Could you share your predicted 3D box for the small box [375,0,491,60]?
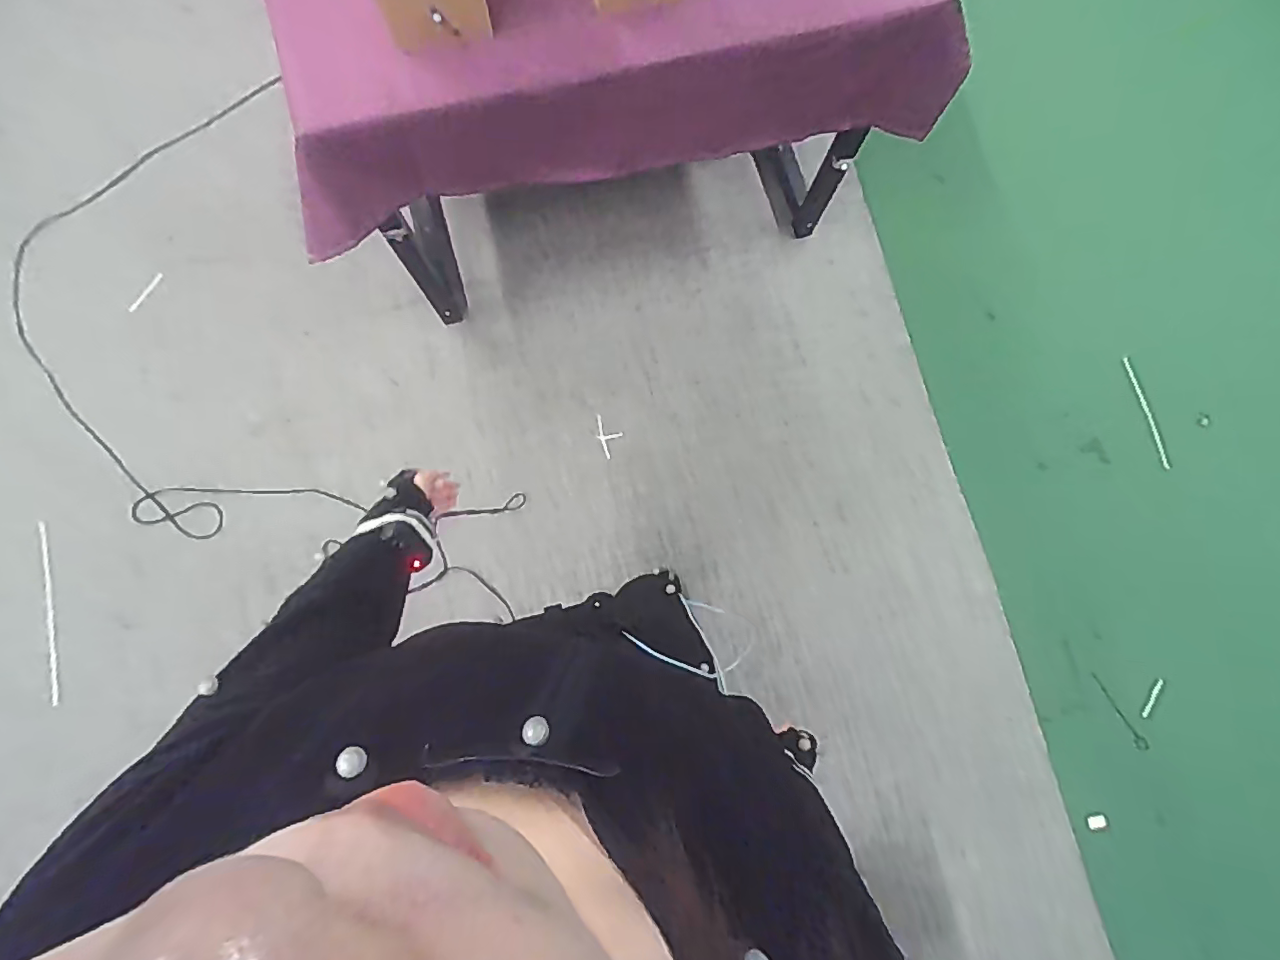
[{"bbox_3d":[-0.353,-0.832,0.869,0.168,0.176,0.179,-14,80,-5],"label":"small box"}]
